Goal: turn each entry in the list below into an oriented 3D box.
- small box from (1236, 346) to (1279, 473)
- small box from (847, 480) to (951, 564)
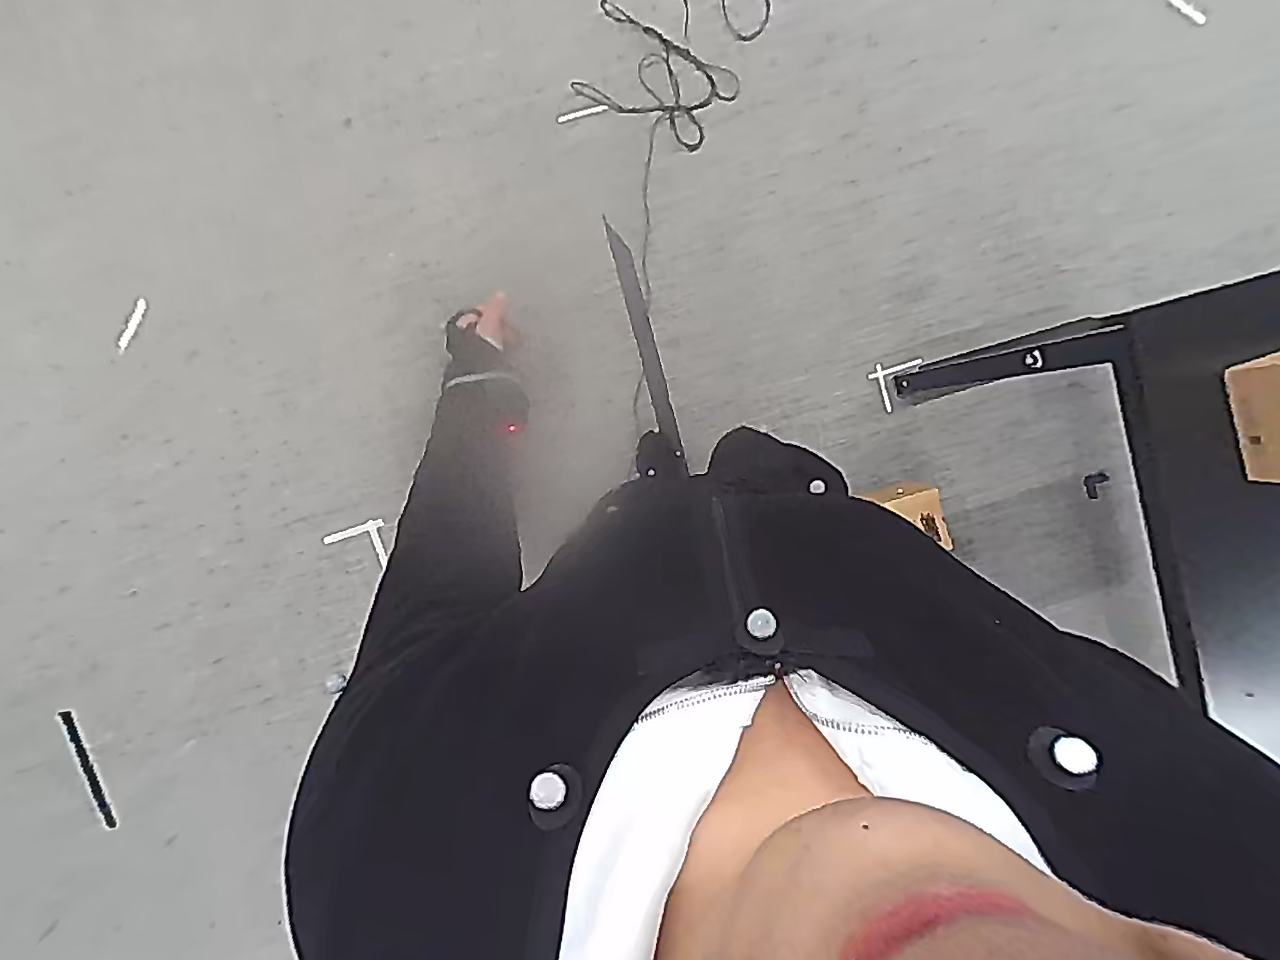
[{"bbox_3d":[0.931,-0.104,0.691,0.179,0.176,0.168,-18,95,0],"label":"small box"},{"bbox_3d":[0.682,0.104,1.437,0.179,0.176,0.168,-17,95,2],"label":"small box"}]
